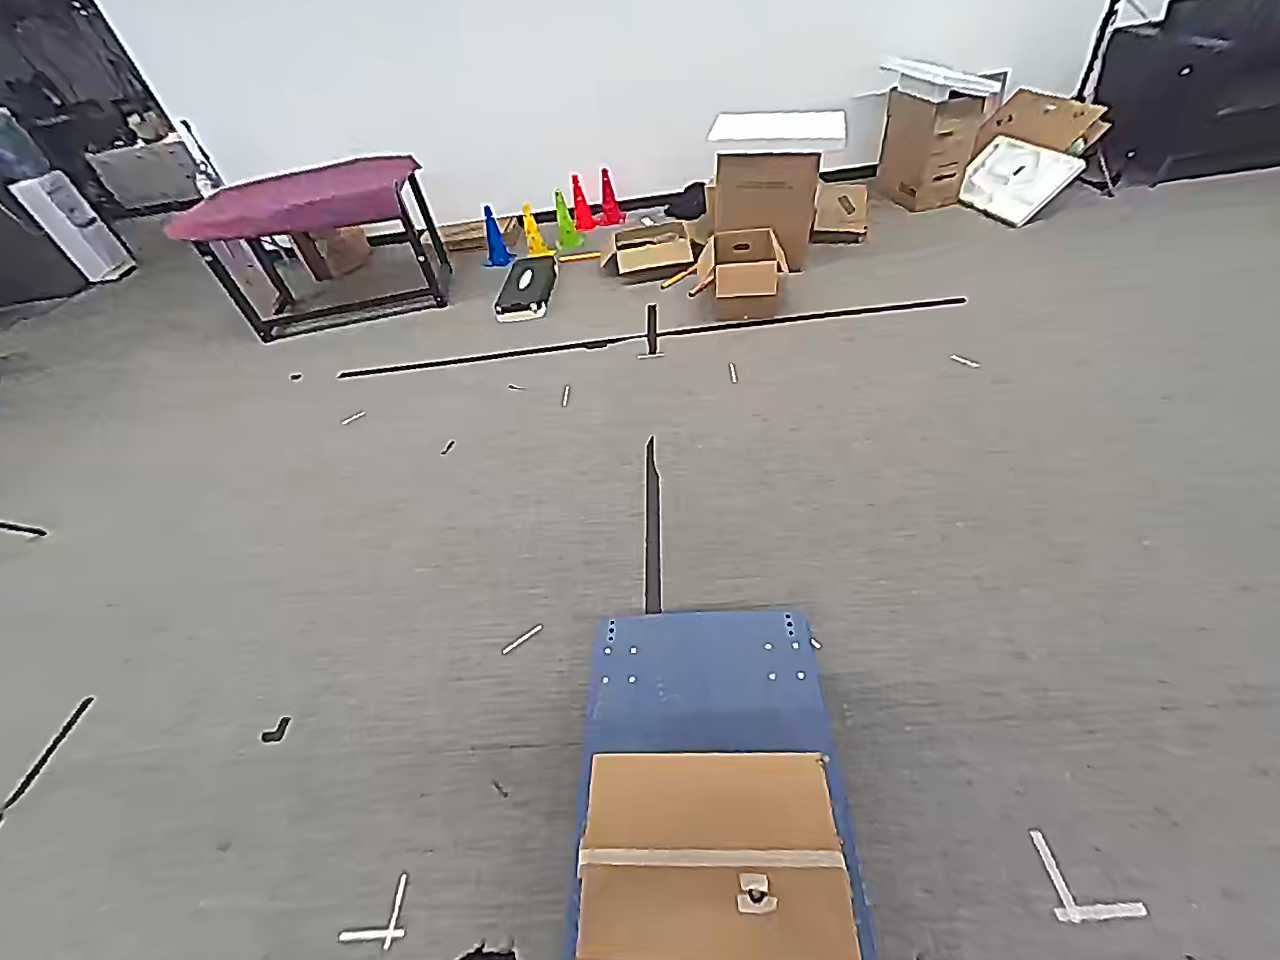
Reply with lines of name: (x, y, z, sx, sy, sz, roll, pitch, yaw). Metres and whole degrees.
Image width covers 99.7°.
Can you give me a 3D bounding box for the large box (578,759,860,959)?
large box: (0.123, 0.705, 0.939, 0.408, 0.320, 0.320, -3, 45, 5)
